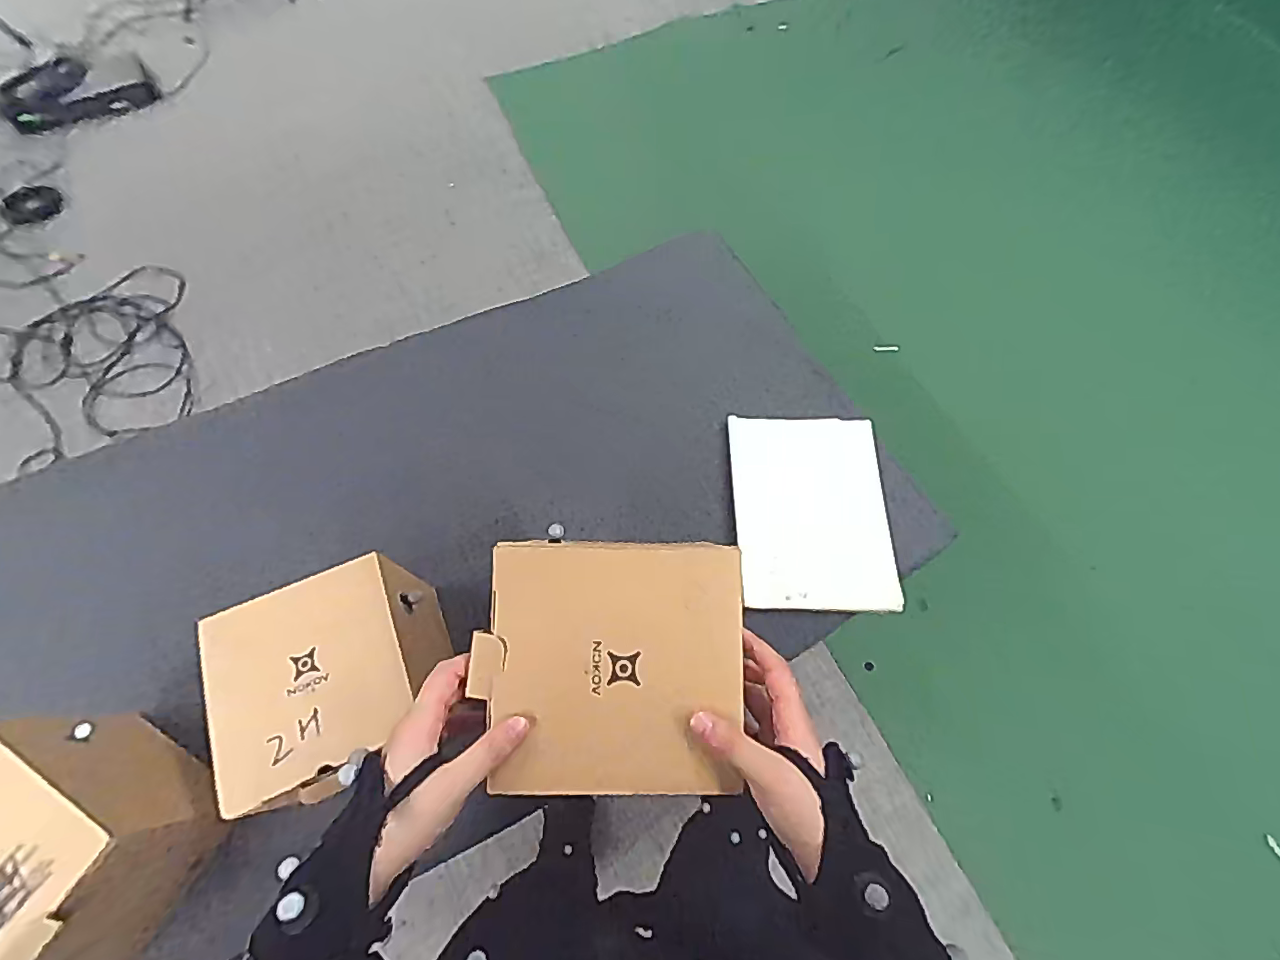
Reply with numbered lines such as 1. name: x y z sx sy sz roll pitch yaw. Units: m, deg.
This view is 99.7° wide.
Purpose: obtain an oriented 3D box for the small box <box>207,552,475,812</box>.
1. small box: -0.291 0.201 0.554 0.168 0.176 0.179 -23 69 -9
